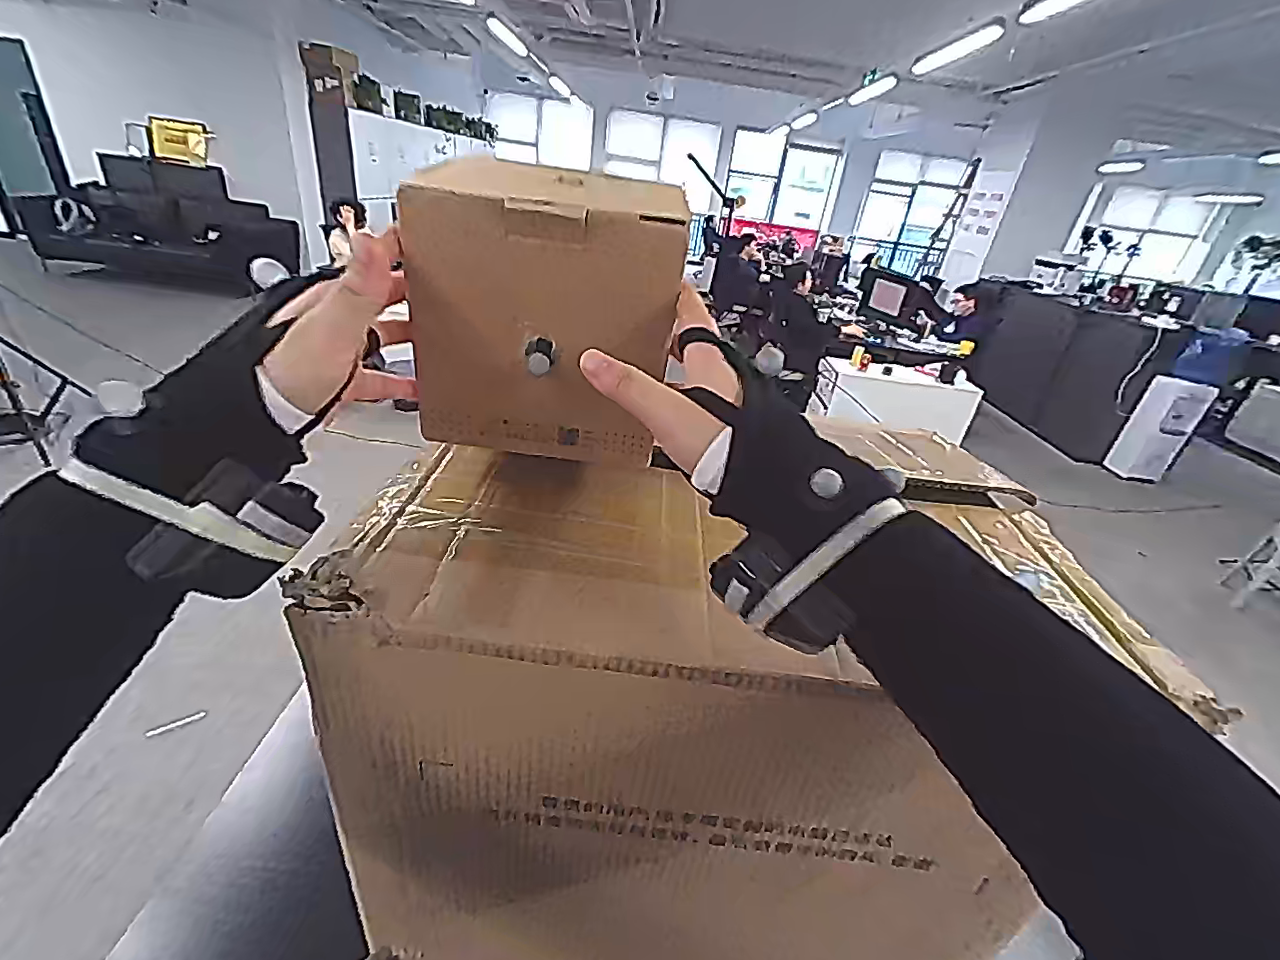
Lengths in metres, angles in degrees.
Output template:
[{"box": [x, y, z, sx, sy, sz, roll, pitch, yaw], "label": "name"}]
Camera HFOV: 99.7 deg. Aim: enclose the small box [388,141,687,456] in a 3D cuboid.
[{"box": [-0.060, -0.136, 0.404, 0.168, 0.176, 0.179, 7, 37, -3], "label": "small box"}]
